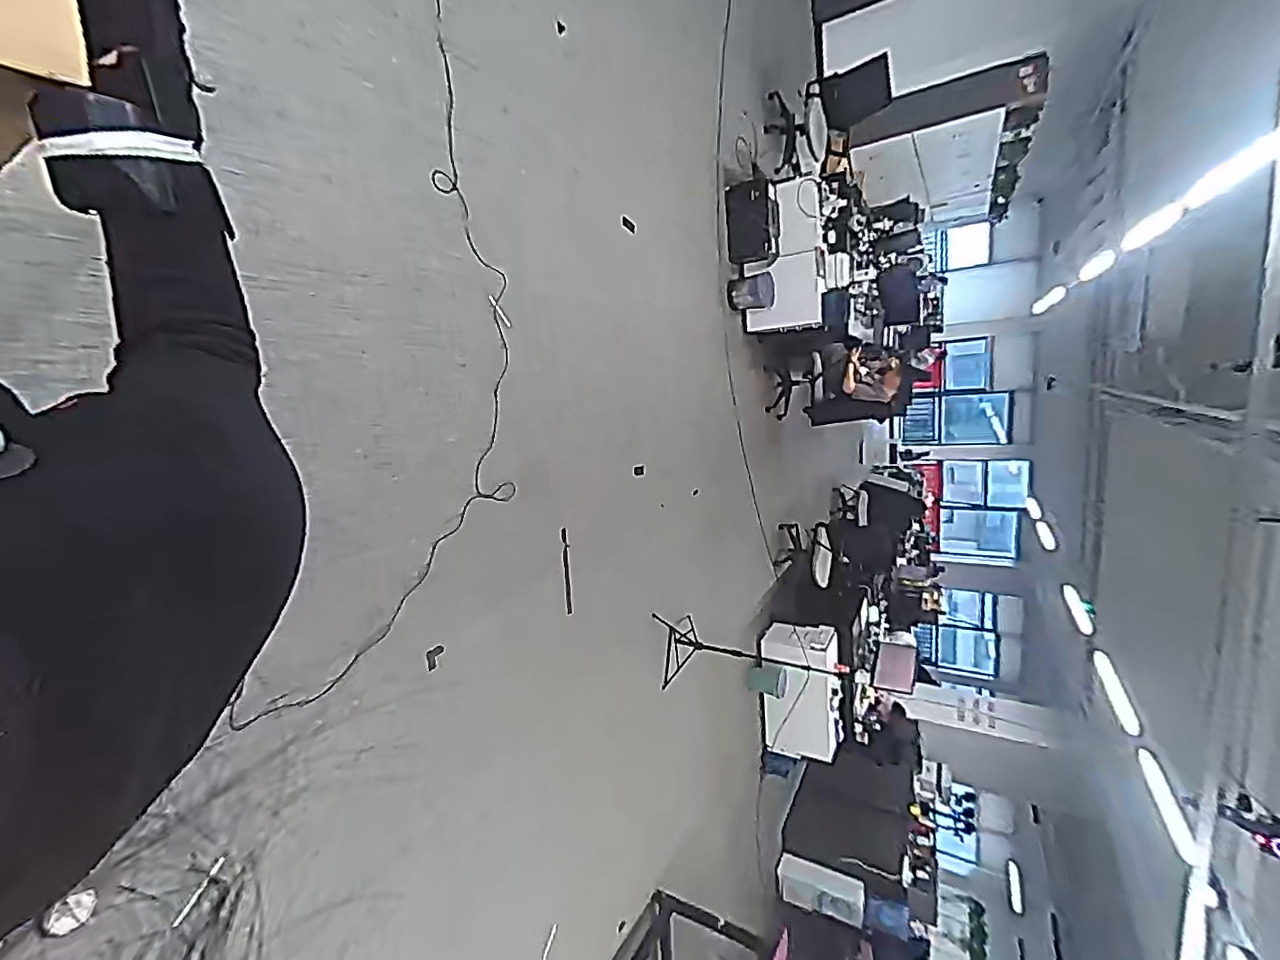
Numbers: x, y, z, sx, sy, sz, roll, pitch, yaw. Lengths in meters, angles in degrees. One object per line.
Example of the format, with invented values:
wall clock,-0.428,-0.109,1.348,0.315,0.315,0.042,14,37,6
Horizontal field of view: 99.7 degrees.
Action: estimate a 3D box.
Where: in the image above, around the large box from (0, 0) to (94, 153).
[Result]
large box,-0.571,-0.374,0.218,0.408,0.320,0.320,-20,116,-54
